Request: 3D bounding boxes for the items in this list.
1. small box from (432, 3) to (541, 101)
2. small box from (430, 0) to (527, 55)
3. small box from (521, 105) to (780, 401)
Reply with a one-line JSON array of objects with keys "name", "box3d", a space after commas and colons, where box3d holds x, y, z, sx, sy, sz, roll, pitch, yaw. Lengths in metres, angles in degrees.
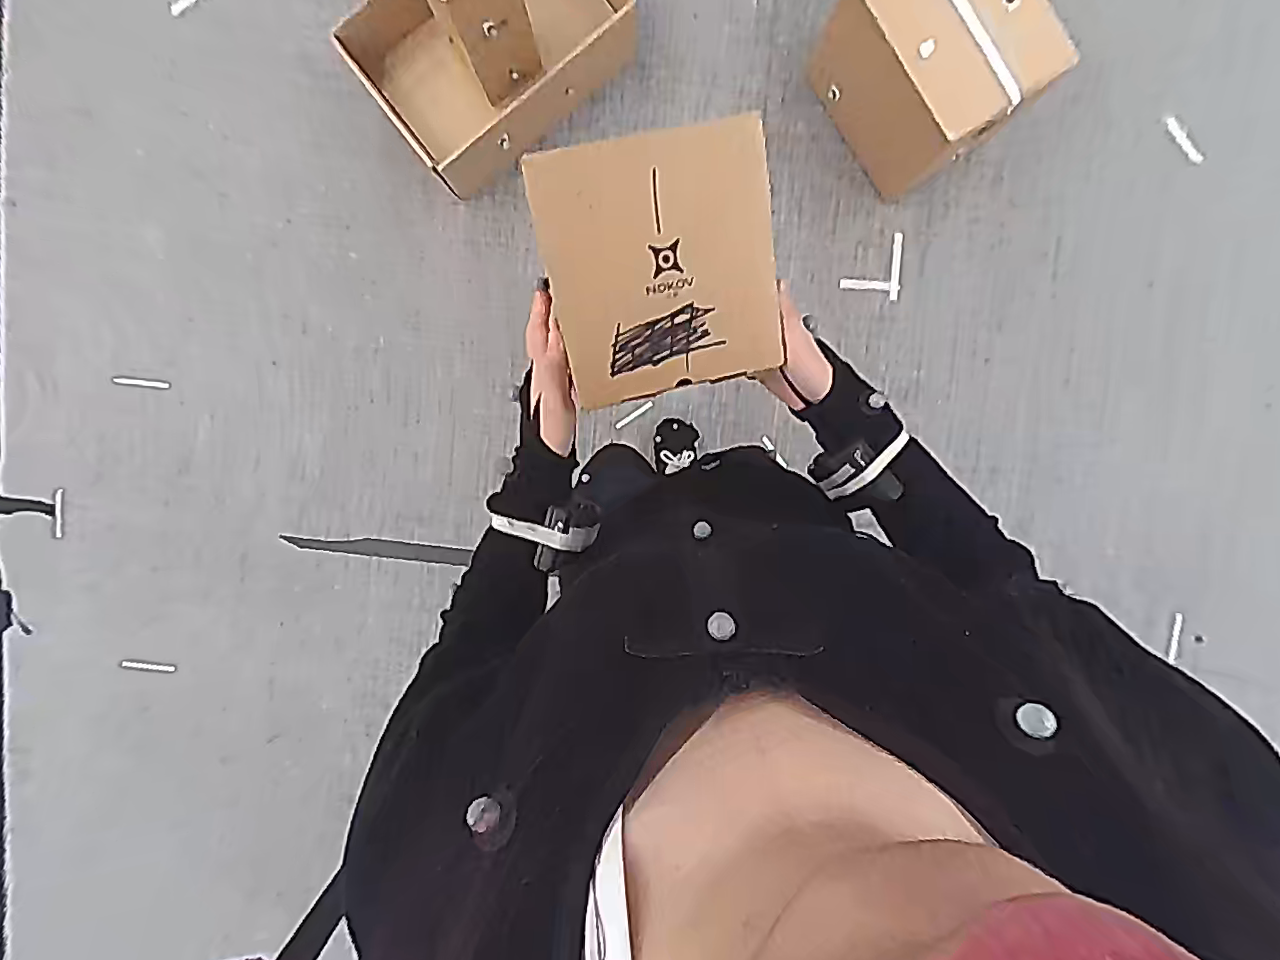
[{"name": "small box", "box3d": [-0.360, -1.065, 1.286, 0.168, 0.176, 0.179, -35, 93, 4]}, {"name": "small box", "box3d": [-0.364, -1.055, 1.124, 0.168, 0.176, 0.179, -36, 93, 4]}, {"name": "small box", "box3d": [0.004, -0.184, 0.461, 0.168, 0.176, 0.179, -14, 112, -6]}]
